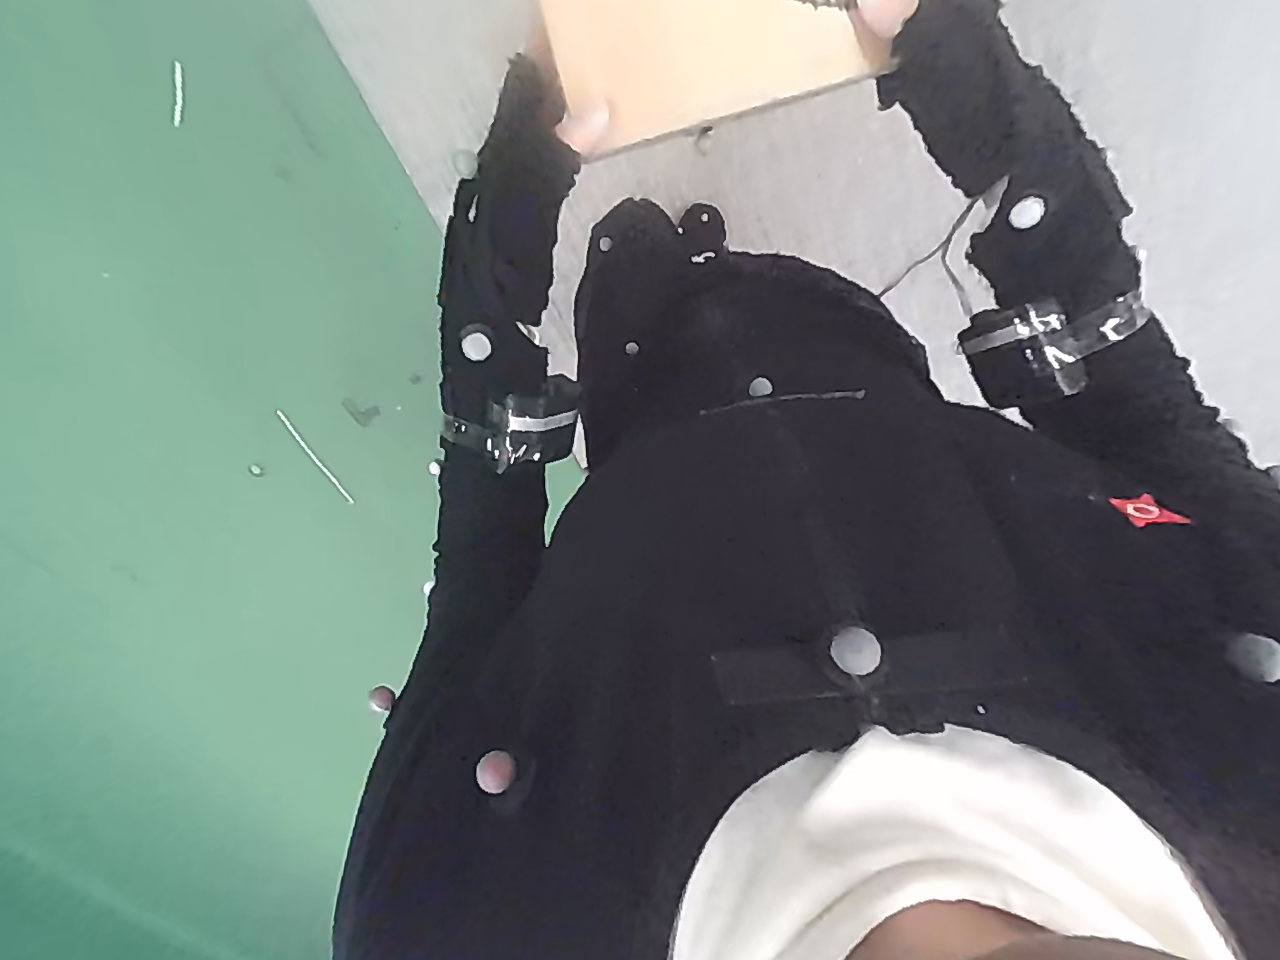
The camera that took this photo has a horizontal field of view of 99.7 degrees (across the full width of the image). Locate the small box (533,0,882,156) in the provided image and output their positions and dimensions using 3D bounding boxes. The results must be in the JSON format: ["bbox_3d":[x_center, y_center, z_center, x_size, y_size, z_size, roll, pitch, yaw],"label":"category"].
[{"bbox_3d":[0.021,-0.312,0.327,0.179,0.176,0.168,-15,118,2],"label":"small box"}]
